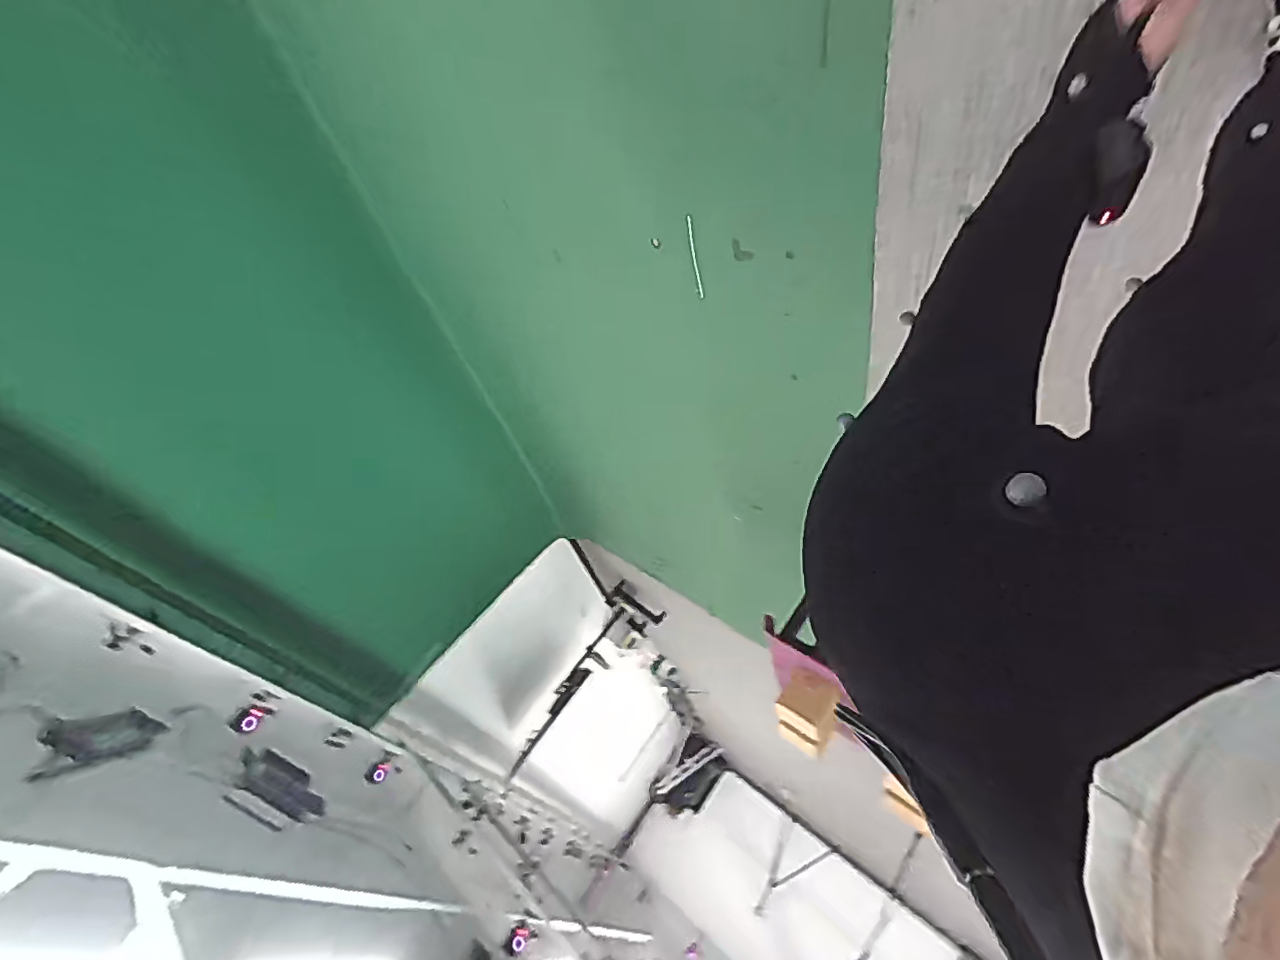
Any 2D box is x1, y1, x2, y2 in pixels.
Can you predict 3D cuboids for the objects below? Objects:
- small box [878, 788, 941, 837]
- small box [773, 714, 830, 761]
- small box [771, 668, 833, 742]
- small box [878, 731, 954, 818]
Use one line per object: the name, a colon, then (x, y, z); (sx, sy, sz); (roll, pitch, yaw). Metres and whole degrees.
small box: (0.988, 1.156, 1.977); (0.168, 0.176, 0.179); (22, 148, 38)
small box: (0.674, 1.016, 2.233); (0.168, 0.176, 0.179); (23, 150, 37)
small box: (0.612, 0.842, 2.030); (0.168, 0.176, 0.179); (23, 151, 36)
small box: (0.910, 0.970, 1.785); (0.168, 0.176, 0.179); (26, 152, 34)
